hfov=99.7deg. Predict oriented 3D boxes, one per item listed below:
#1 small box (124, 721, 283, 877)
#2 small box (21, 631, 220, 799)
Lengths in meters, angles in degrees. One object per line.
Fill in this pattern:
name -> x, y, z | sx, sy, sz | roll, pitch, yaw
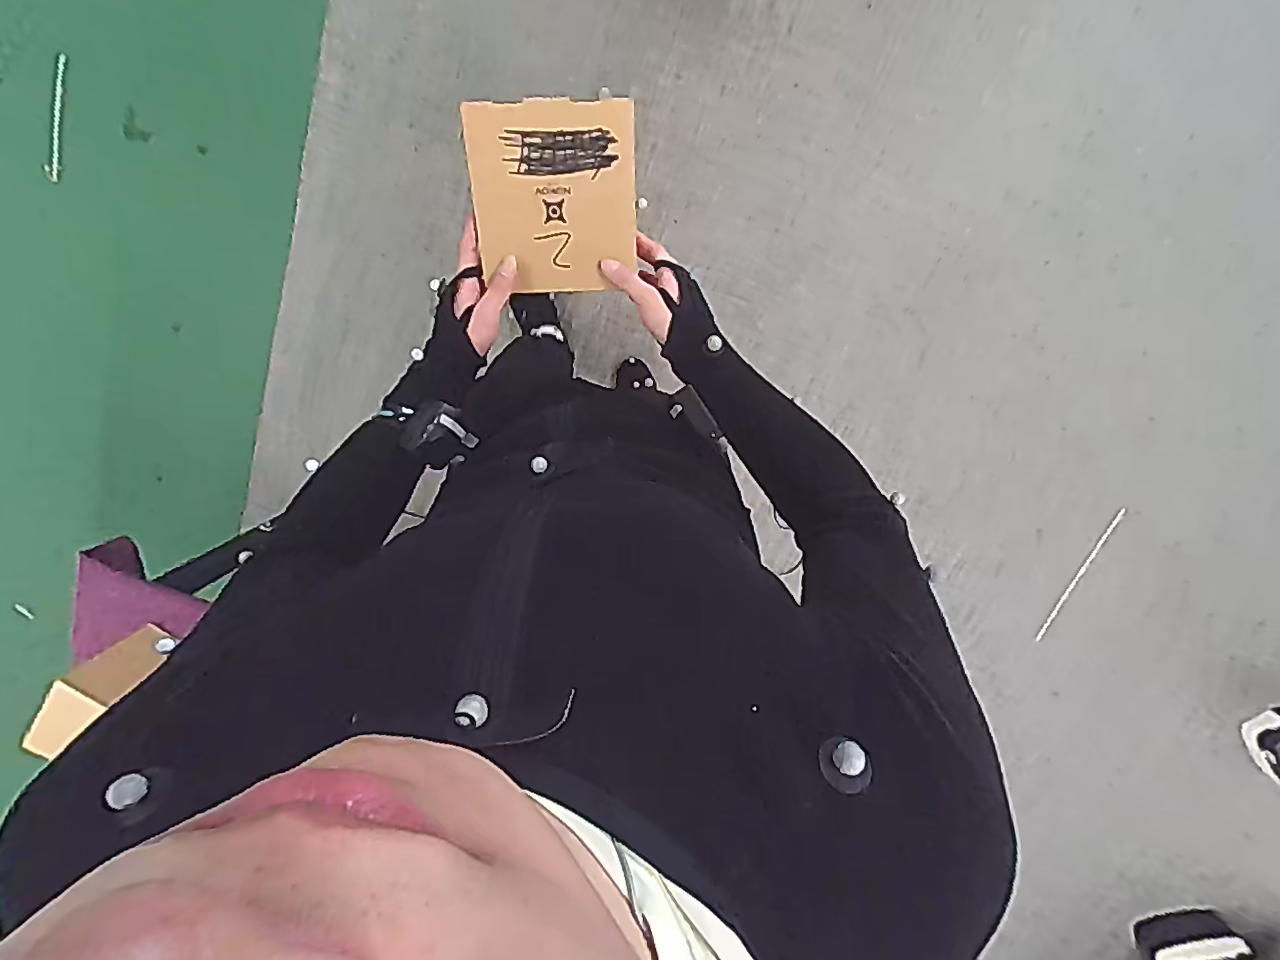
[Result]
small box -> -0.798, 0.584, 1.007 | 0.168, 0.176, 0.179 | 11, 107, -1
small box -> -0.900, 0.405, 0.956 | 0.168, 0.176, 0.179 | 38, 107, -9
